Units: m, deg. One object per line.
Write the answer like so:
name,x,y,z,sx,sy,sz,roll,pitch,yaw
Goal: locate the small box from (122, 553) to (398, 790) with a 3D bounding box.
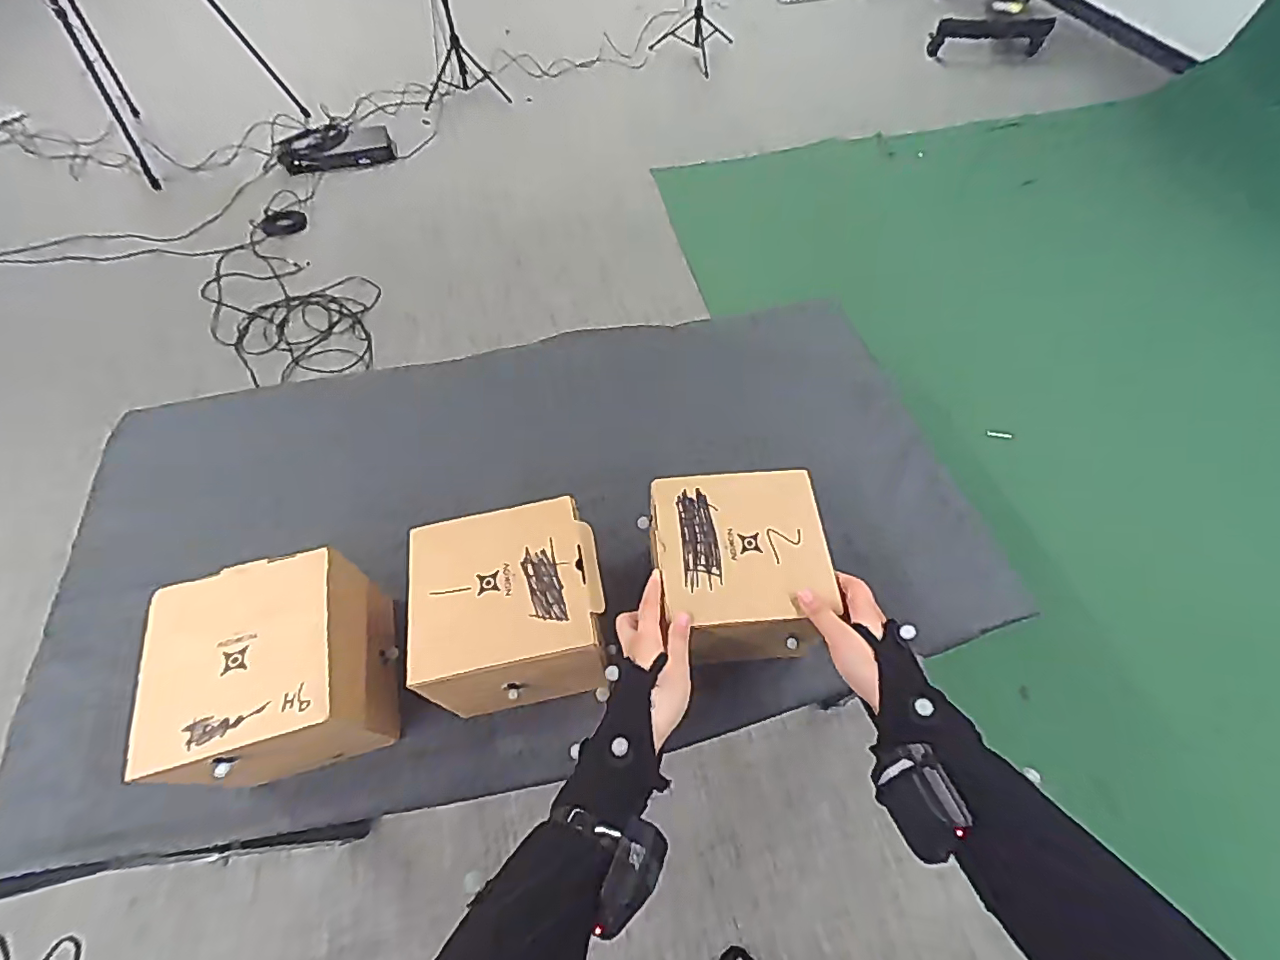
small box,-0.371,0.205,0.569,0.168,0.176,0.179,-14,59,-7
